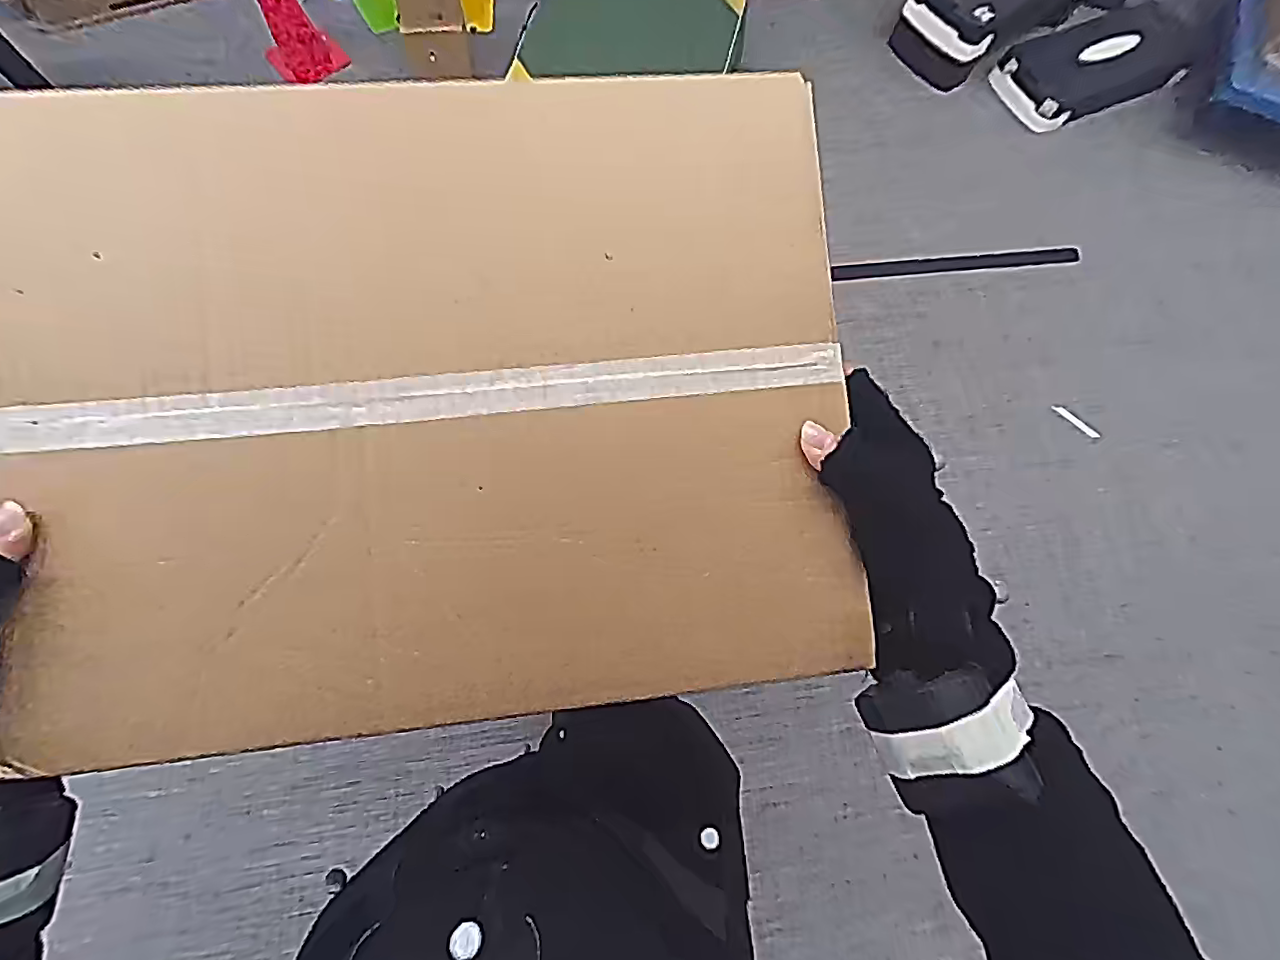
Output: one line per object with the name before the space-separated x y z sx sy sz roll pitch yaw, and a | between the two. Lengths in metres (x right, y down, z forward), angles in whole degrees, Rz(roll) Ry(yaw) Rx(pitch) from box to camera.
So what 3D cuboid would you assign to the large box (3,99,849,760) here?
large box | -0.109 -0.034 0.423 0.408 0.320 0.320 -5 87 -5
